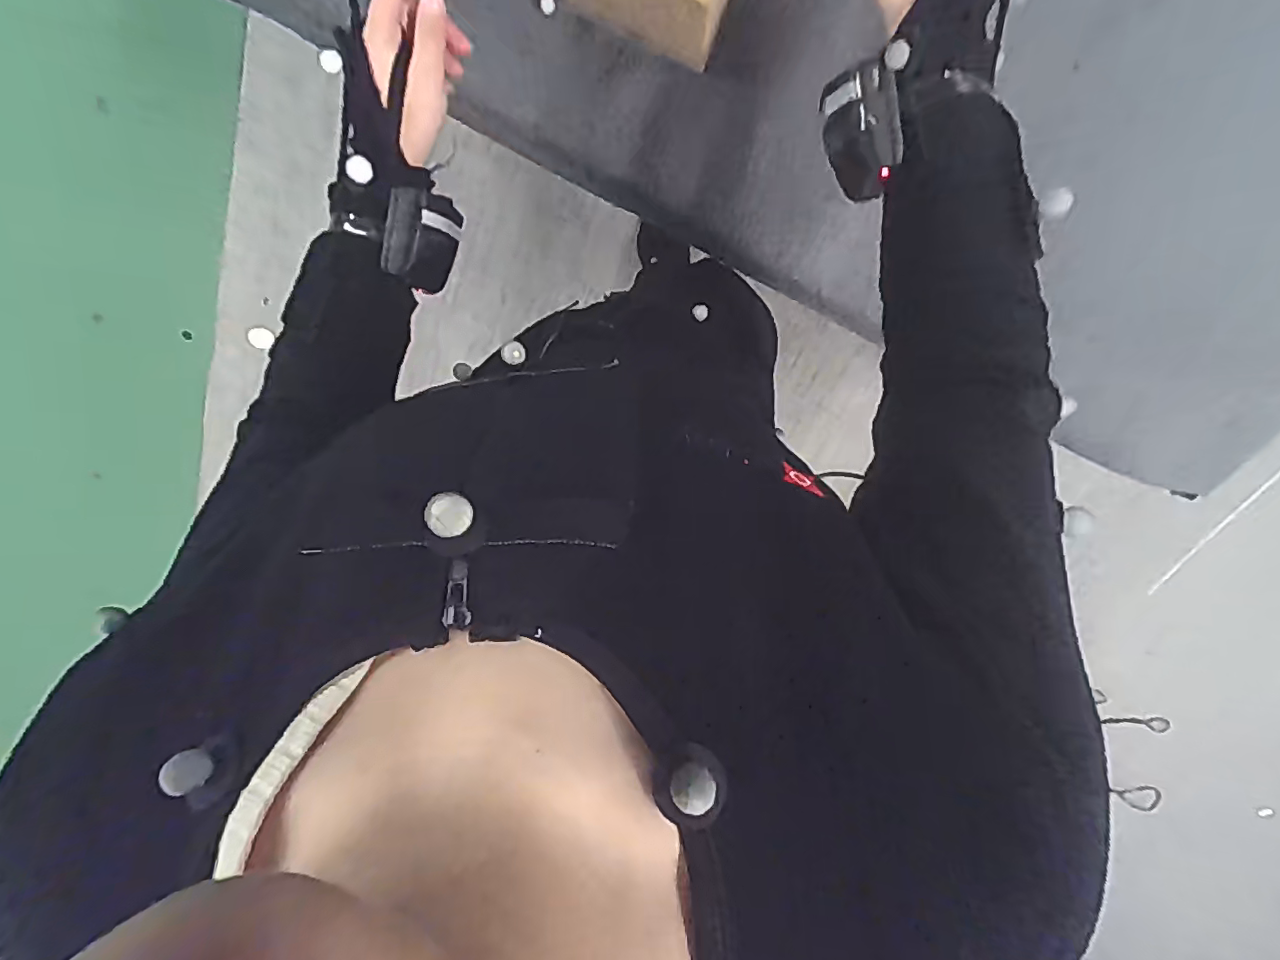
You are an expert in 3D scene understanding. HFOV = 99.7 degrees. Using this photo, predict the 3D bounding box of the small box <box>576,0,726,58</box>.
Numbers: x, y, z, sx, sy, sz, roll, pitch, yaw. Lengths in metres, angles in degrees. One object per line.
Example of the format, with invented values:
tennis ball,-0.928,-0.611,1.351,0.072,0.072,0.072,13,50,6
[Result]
small box,0.004,-0.419,0.347,0.168,0.176,0.179,22,114,-6
